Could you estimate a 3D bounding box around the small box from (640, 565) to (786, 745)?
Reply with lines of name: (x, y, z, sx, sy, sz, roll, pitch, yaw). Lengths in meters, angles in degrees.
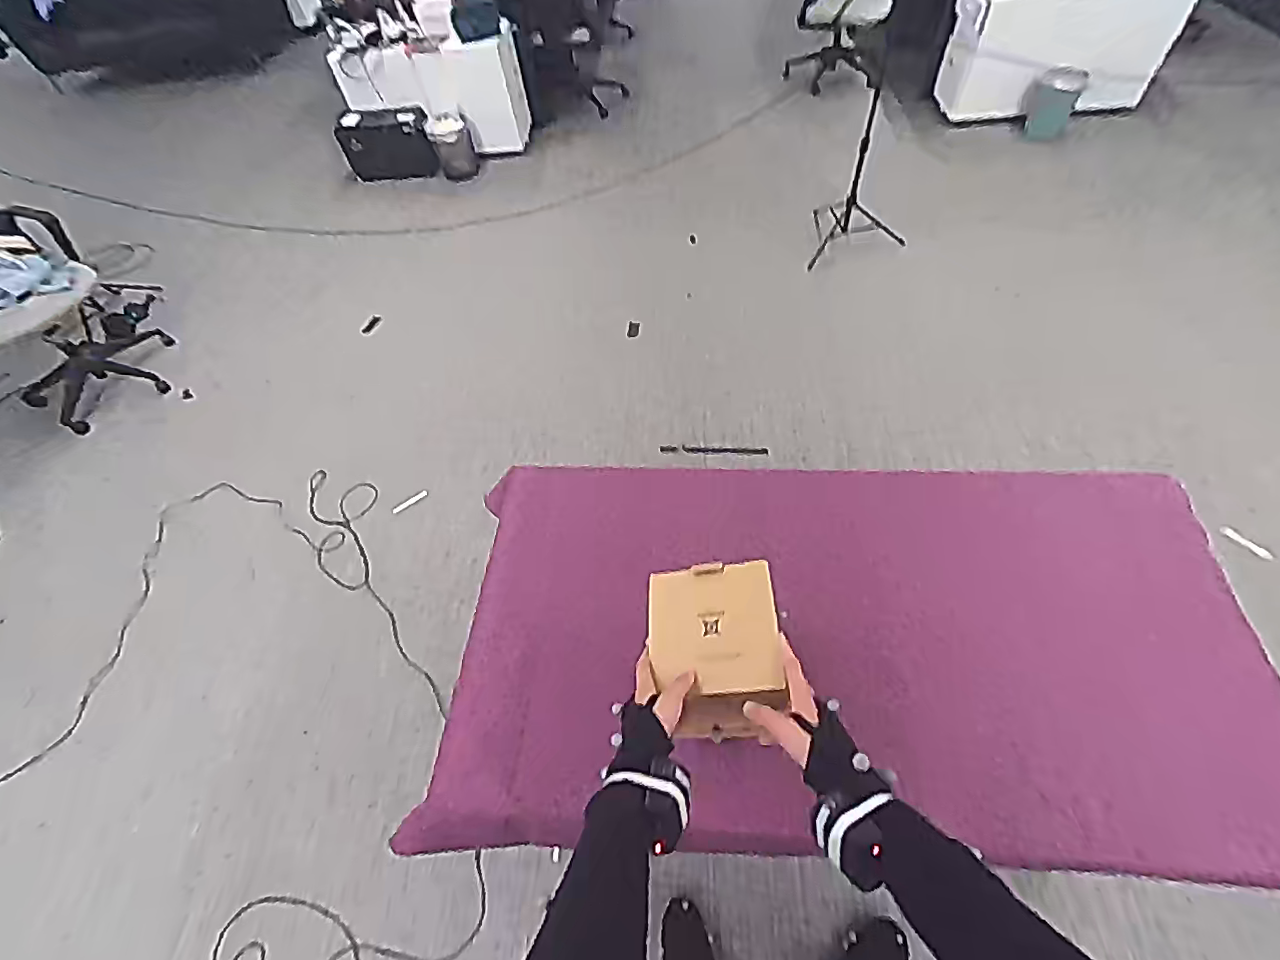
small box: (0.101, 0.241, 0.736, 0.168, 0.176, 0.179, -9, 47, 12)
